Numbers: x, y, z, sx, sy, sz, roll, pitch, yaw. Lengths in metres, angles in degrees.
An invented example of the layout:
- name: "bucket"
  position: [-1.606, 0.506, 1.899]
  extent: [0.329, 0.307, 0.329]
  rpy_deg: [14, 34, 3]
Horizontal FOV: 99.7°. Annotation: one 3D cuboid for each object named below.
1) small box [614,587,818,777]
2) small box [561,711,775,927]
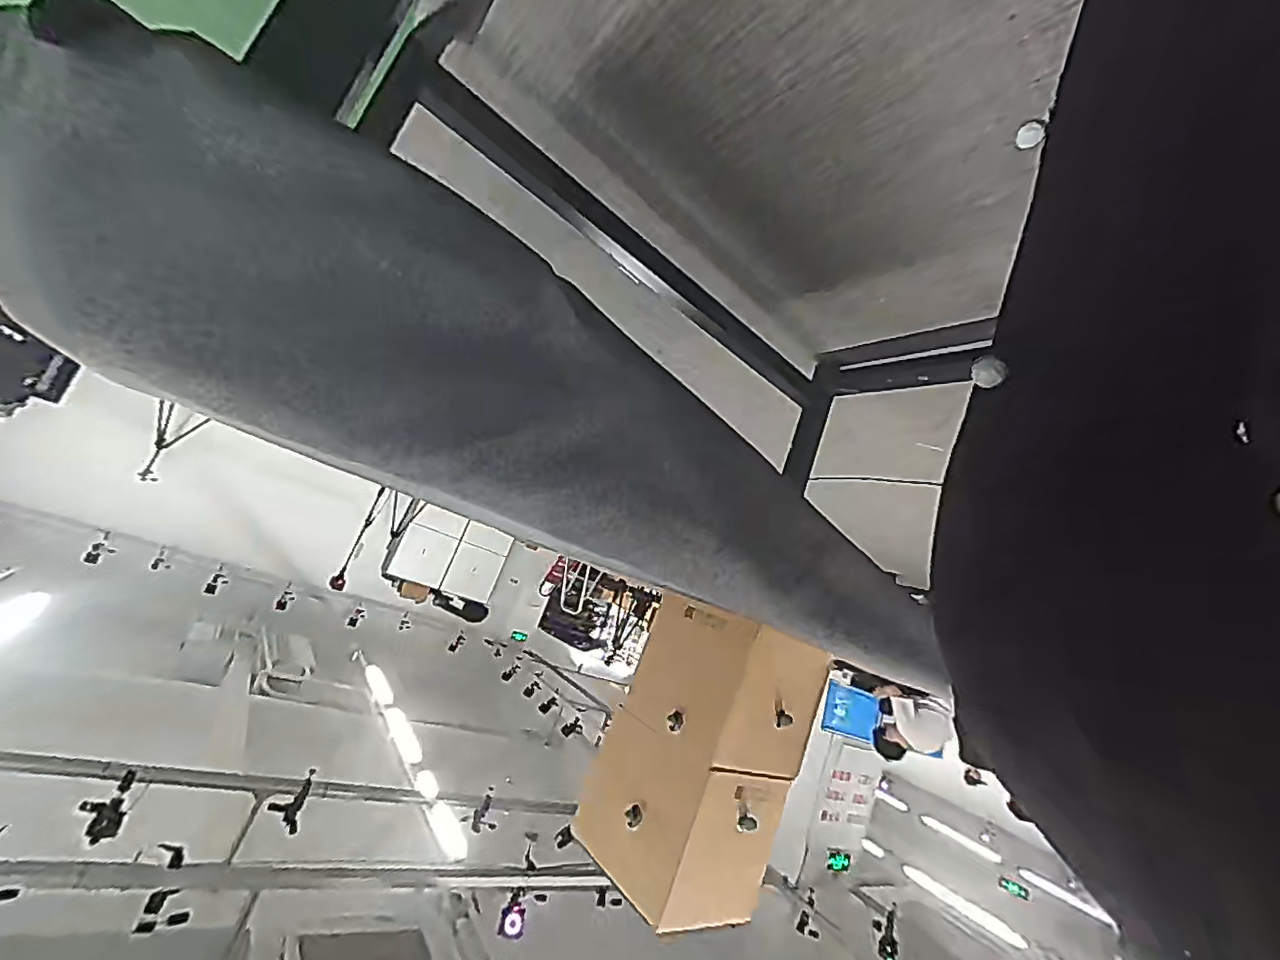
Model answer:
- name: "small box"
  position: [0.104, 0.257, 0.706]
  extent: [0.179, 0.176, 0.168]
  rpy_deg: [30, 167, -35]
- name: "small box"
  position: [0.038, 0.406, 0.678]
  extent: [0.168, 0.176, 0.179]
  rpy_deg: [31, 166, -36]
